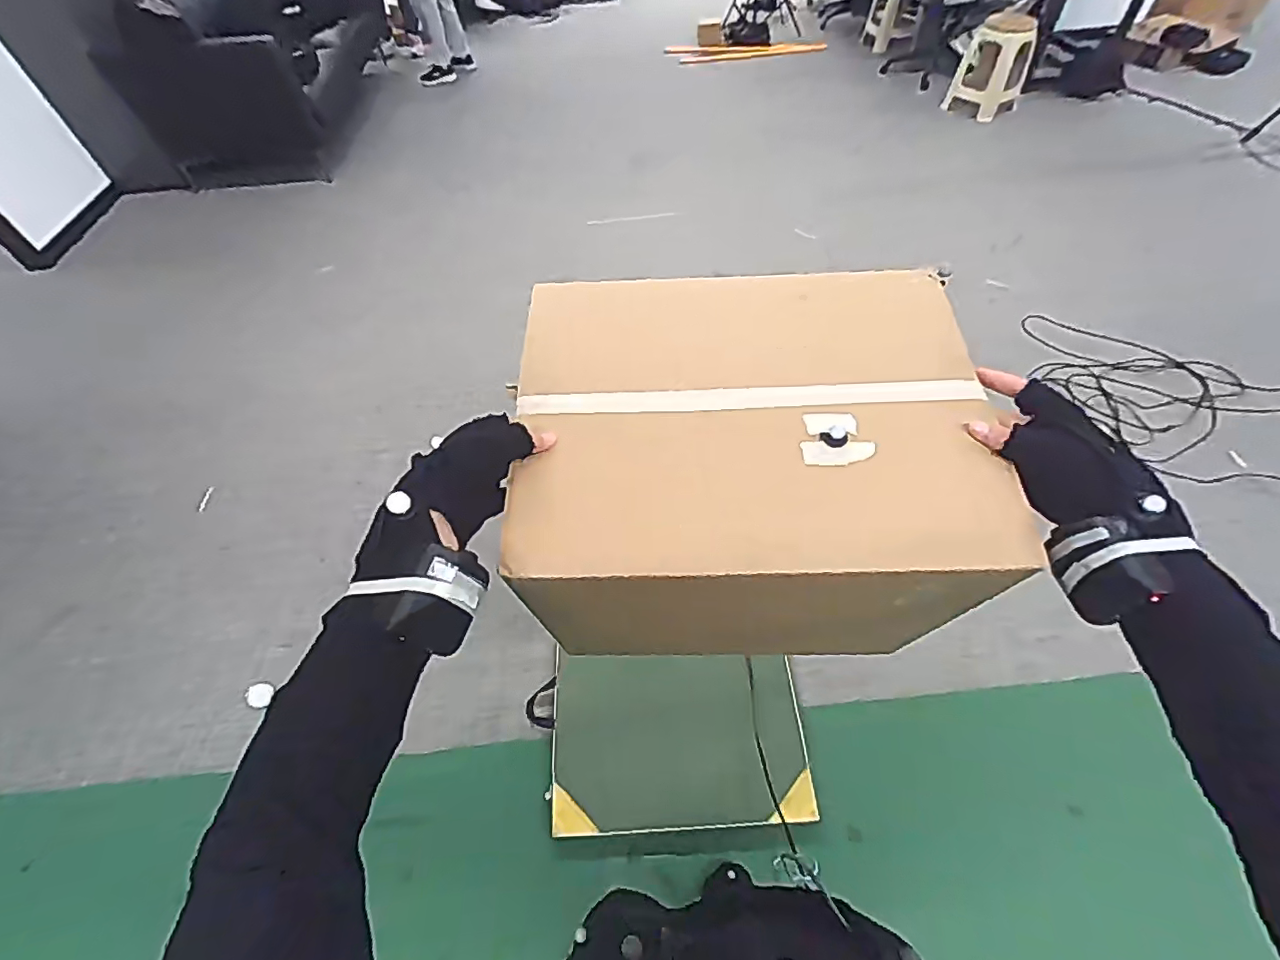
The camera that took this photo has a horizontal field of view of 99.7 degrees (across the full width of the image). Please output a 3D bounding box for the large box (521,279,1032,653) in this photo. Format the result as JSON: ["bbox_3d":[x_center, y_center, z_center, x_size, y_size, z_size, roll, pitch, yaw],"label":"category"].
[{"bbox_3d":[0.104,0.004,0.616,0.408,0.320,0.320,-1,62,1],"label":"large box"}]
